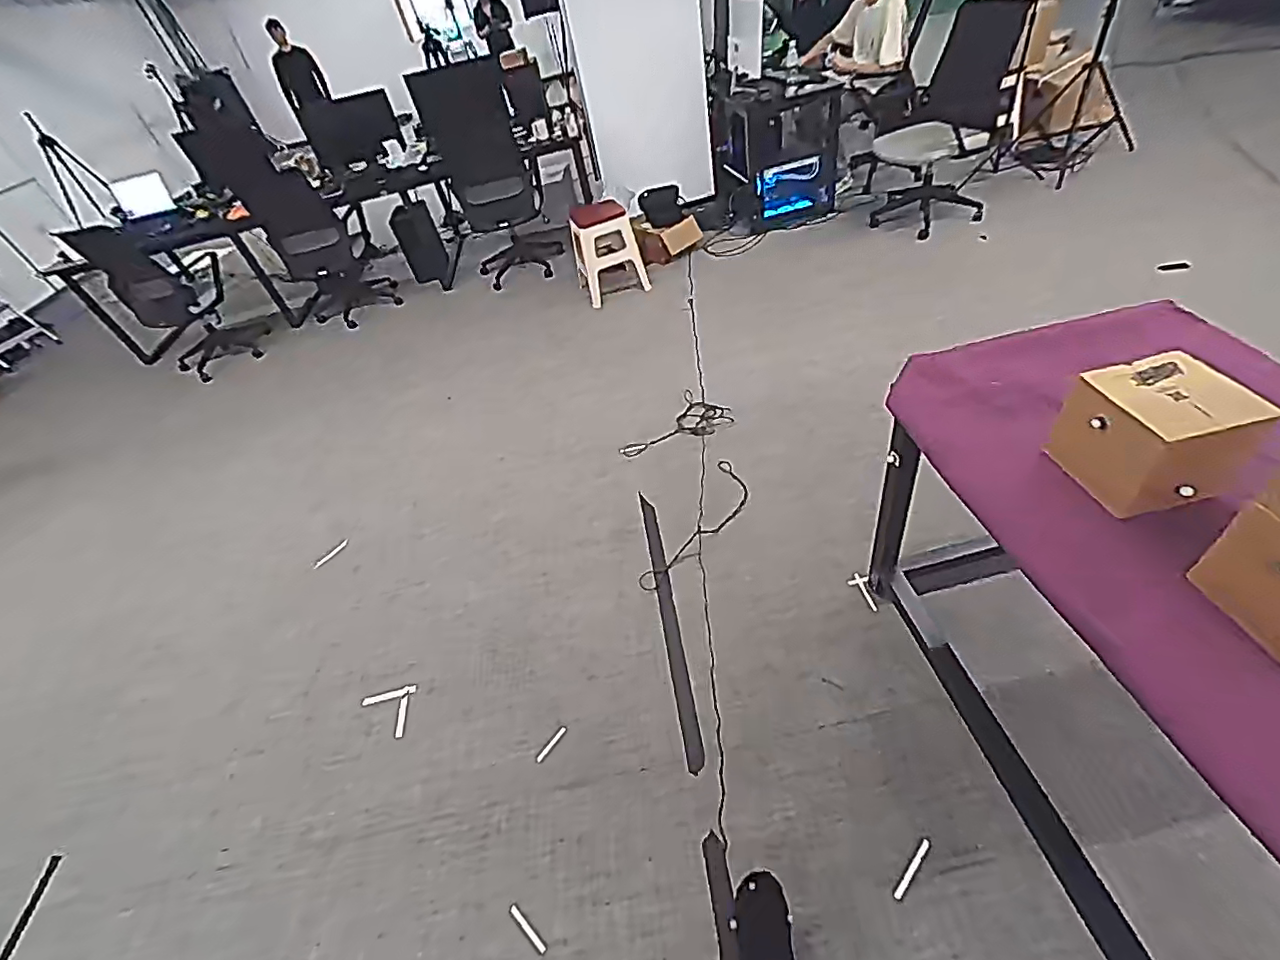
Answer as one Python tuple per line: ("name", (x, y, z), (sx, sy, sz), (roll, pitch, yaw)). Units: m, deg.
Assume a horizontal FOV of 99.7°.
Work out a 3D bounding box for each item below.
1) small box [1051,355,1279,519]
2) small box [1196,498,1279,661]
("small box", (0.804, -0.067, 0.852), (0.168, 0.176, 0.179), (-14, 44, 2))
("small box", (0.853, 0.124, 0.646), (0.168, 0.176, 0.179), (-13, 43, 2))
